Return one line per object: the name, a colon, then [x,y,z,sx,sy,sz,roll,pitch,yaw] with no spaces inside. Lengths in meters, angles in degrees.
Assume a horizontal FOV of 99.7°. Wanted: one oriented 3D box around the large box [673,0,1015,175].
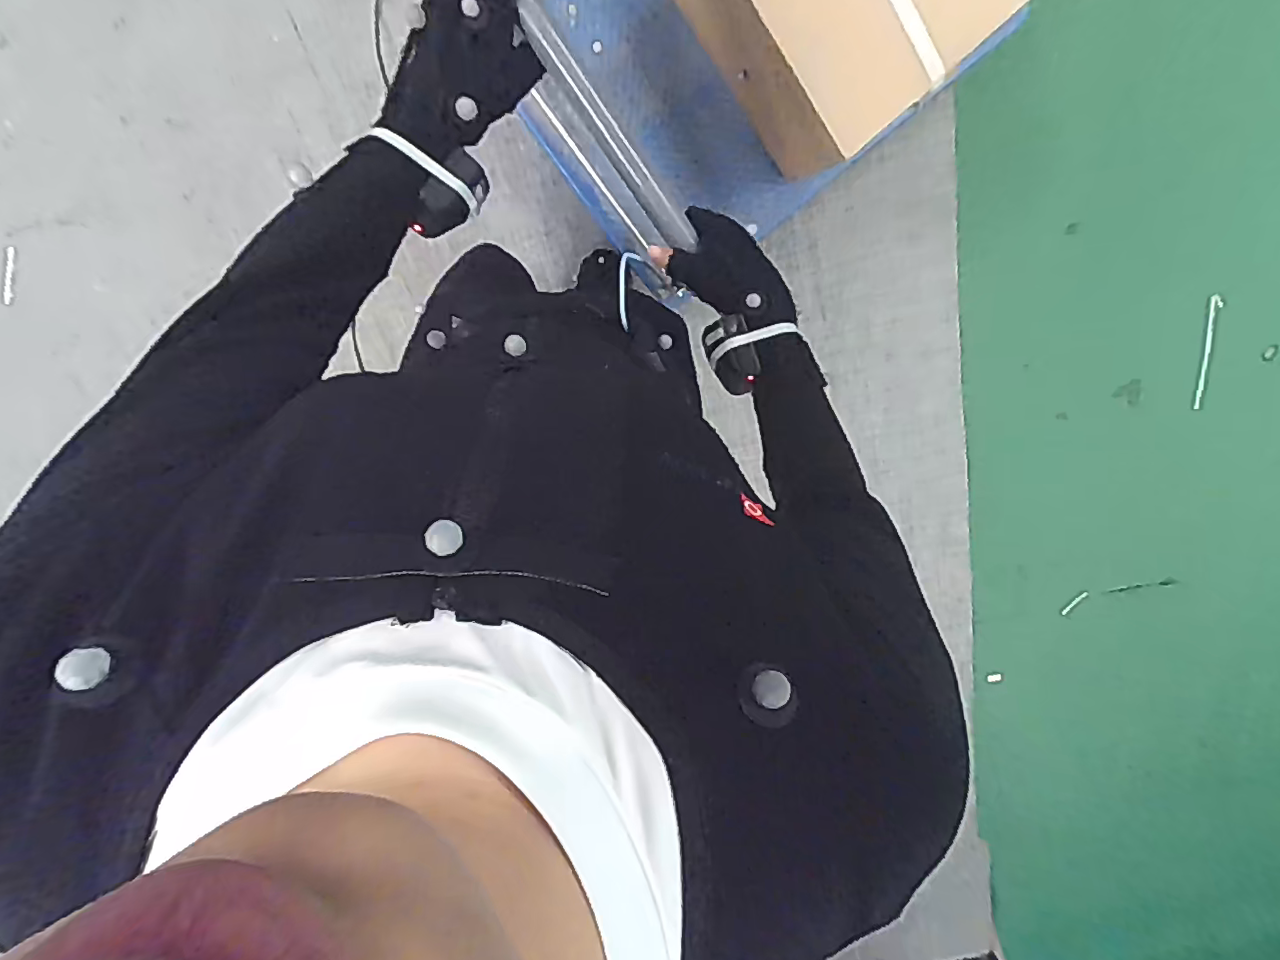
large box: [0.293,-0.785,0.869,0.320,0.320,0.408,-39,109,13]
